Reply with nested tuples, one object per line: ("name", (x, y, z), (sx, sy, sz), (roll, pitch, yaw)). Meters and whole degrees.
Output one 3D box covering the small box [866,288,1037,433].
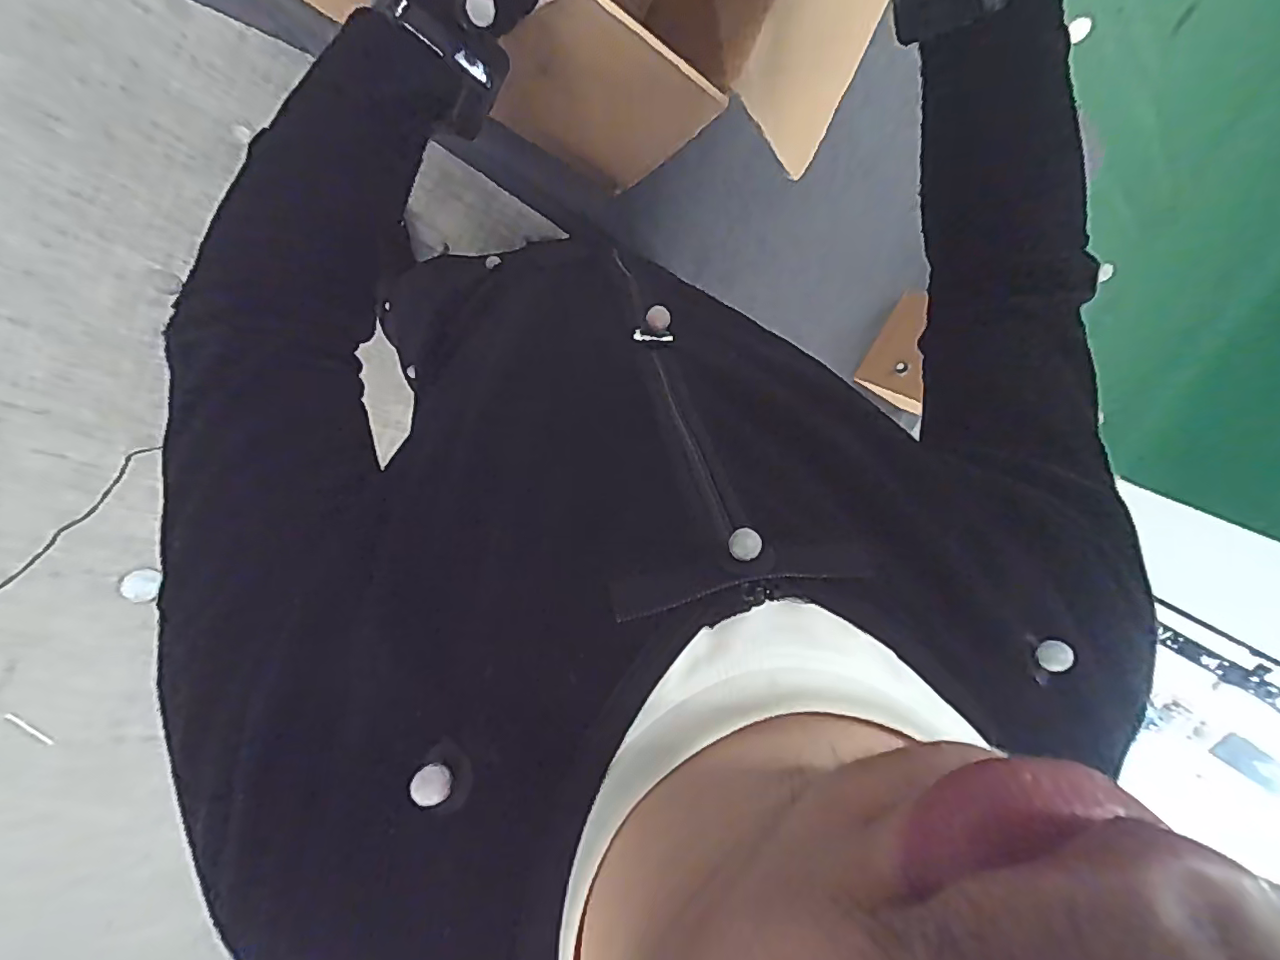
("small box", (0.530, -0.212, 0.947), (0.168, 0.176, 0.179), (19, 106, -32))
